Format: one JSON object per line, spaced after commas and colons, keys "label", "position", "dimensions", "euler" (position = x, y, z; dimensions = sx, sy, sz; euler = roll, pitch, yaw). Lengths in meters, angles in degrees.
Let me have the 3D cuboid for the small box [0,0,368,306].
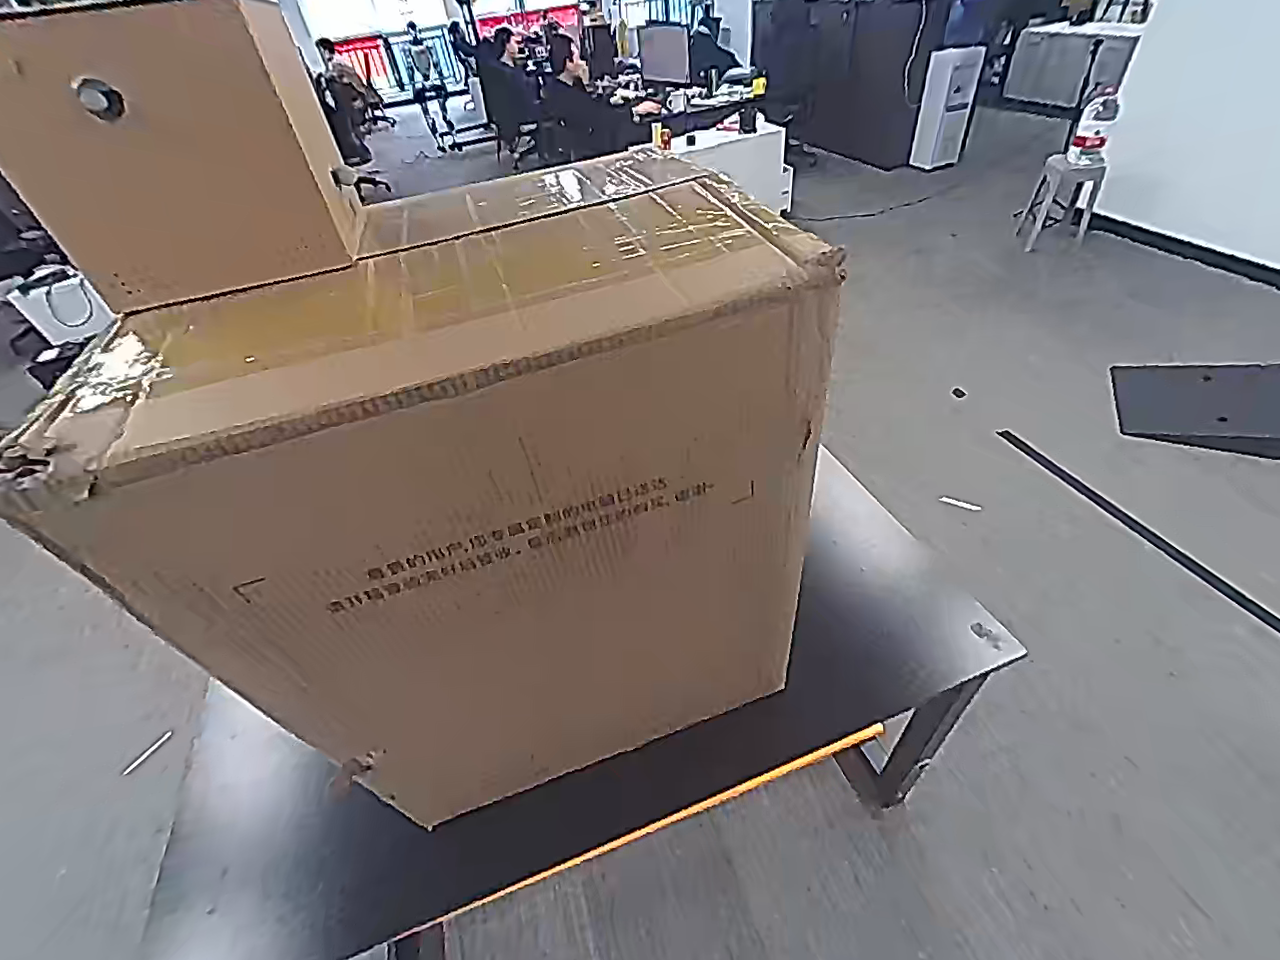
{"label": "small box", "position": [-0.343, -0.254, 0.424], "dimensions": [0.179, 0.176, 0.168], "euler": [-17, 42, -10]}
